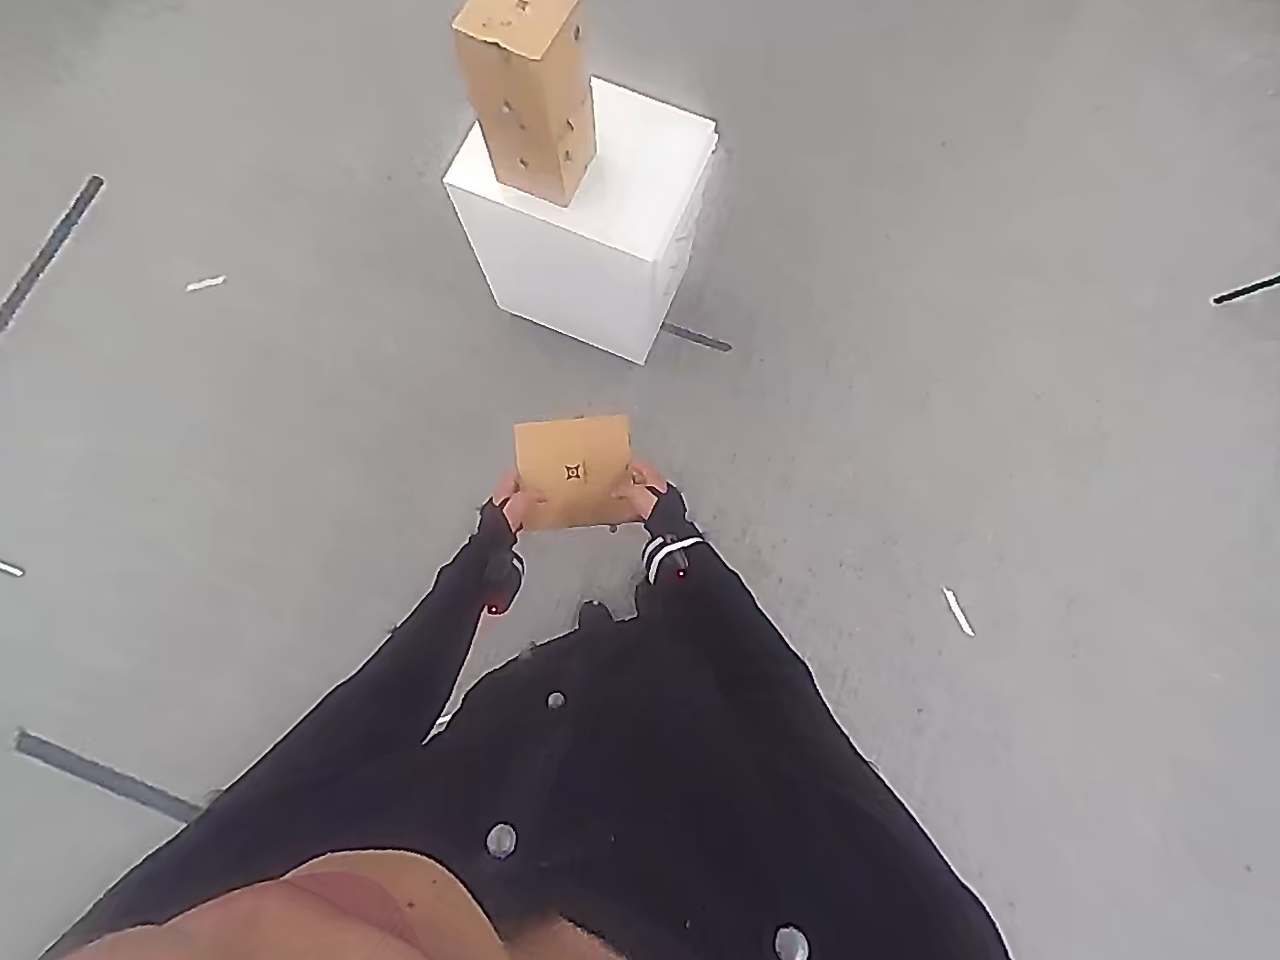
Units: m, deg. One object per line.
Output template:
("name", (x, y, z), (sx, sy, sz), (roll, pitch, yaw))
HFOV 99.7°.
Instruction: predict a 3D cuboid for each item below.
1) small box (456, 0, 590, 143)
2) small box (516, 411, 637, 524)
("small box", (-0.197, -0.764, 0.974), (0.168, 0.176, 0.179), (25, 79, 4))
("small box", (-0.097, -0.014, 0.897), (0.179, 0.176, 0.168), (-5, 88, -2))
